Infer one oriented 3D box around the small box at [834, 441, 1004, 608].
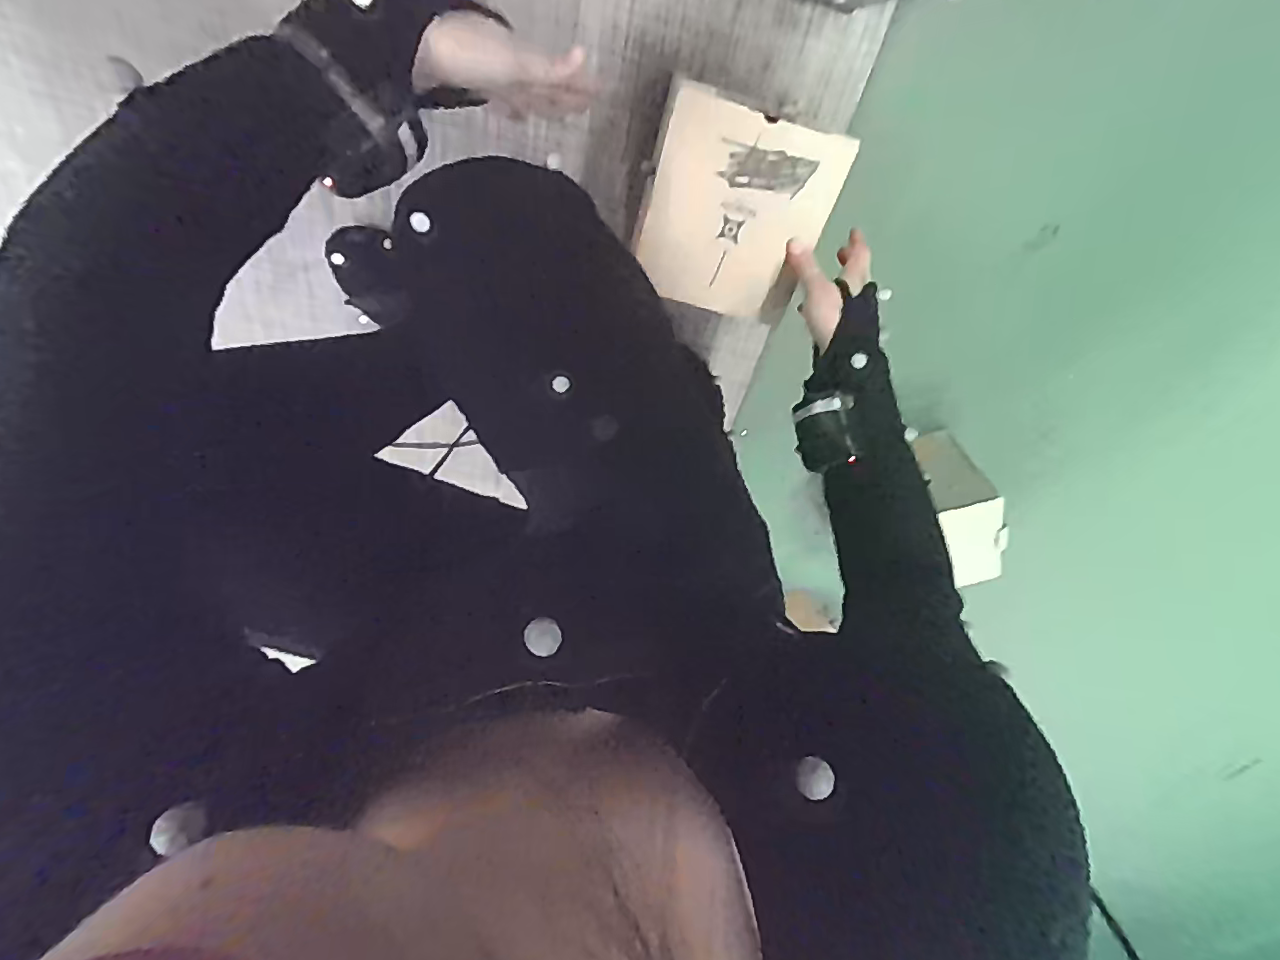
[{"bbox_3d":[0.415,0.064,0.824,0.179,0.176,0.168,-16,126,12],"label":"small box"}]
